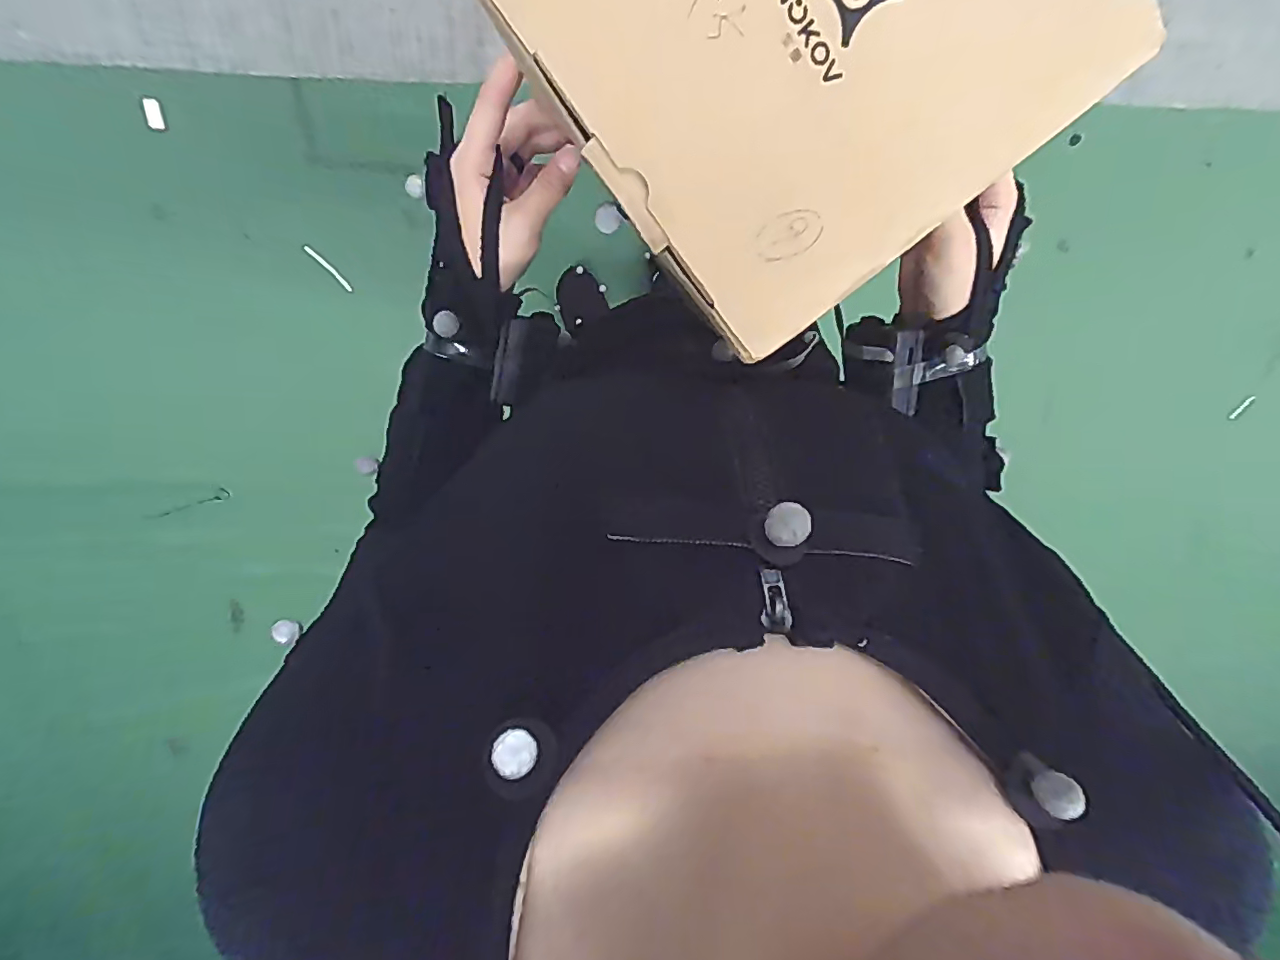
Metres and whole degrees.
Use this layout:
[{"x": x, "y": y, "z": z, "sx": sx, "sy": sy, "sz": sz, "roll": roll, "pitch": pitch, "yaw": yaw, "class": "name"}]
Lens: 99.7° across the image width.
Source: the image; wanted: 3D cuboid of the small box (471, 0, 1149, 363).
[{"x": 0.058, "y": -0.185, "z": 0.254, "sx": 0.179, "sy": 0.176, "sz": 0.168, "roll": -36, "pitch": 110, "yaw": 14, "class": "small box"}]
